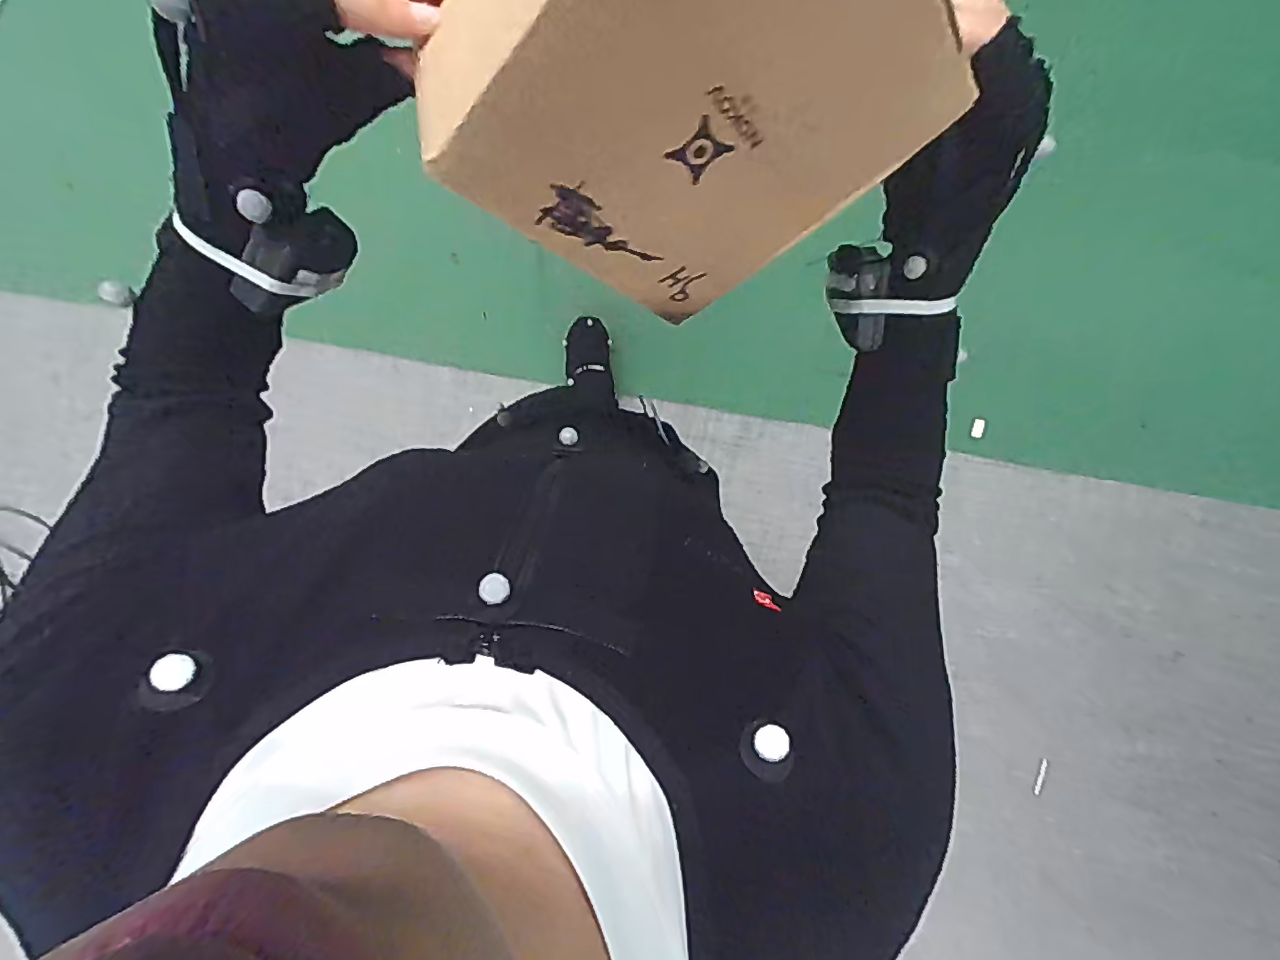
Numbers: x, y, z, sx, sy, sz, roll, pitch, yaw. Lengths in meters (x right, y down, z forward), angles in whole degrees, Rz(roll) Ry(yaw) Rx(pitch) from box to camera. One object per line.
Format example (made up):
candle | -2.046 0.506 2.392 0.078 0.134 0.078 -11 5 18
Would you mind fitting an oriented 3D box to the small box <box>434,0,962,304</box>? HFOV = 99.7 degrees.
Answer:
small box | 0.014 -0.230 0.261 0.179 0.168 0.176 -29 62 33
